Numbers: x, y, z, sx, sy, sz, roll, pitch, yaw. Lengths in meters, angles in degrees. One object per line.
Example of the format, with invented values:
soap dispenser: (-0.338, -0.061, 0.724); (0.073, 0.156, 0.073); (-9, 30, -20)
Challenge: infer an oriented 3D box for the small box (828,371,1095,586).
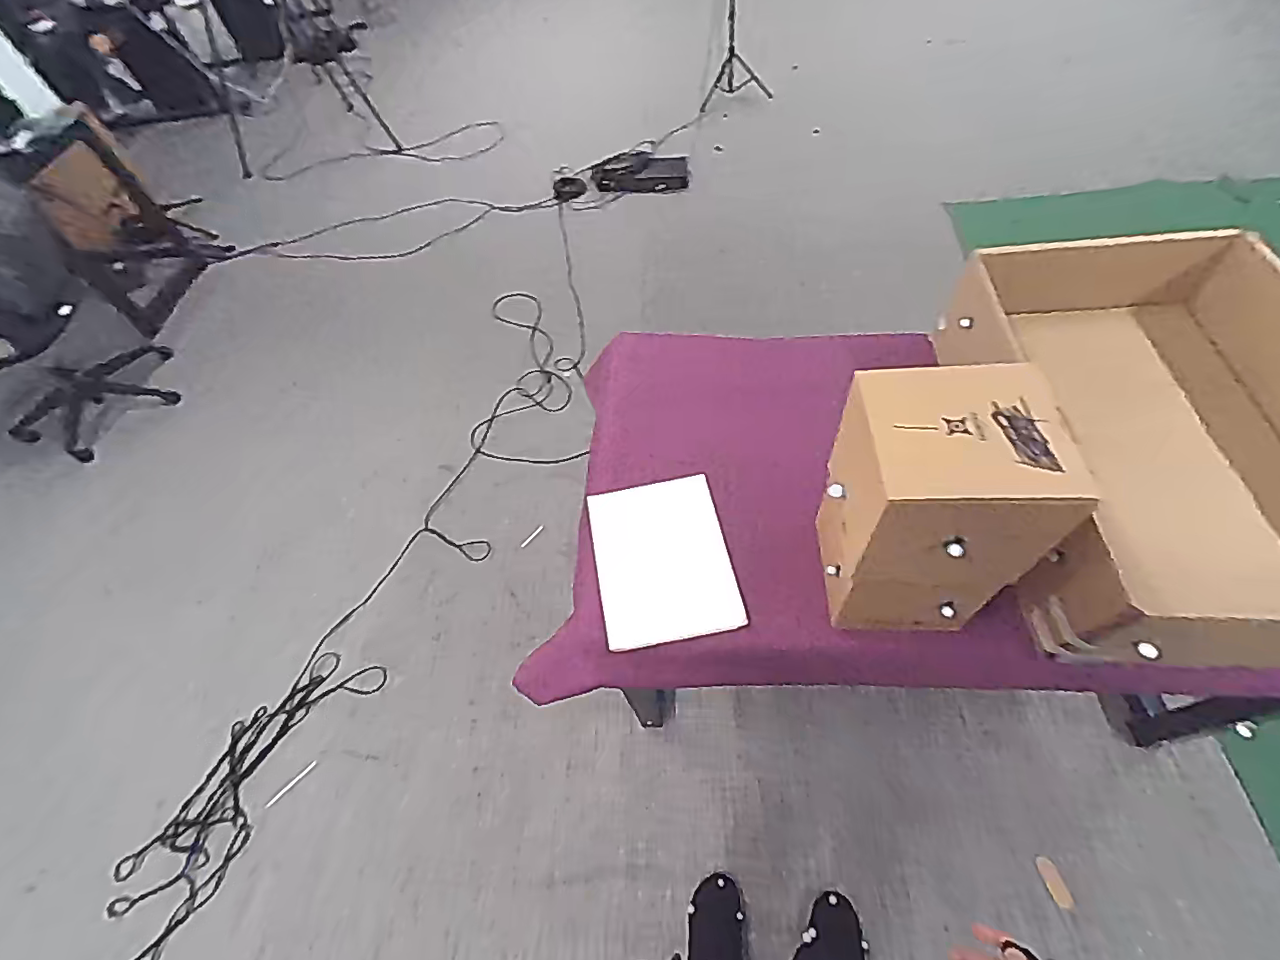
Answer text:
small box: (0.312, 0.003, 0.574); (0.179, 0.176, 0.168); (0, 54, 7)

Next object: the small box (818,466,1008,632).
small box: (0.338, 0.090, 0.712); (0.168, 0.176, 0.179); (0, 54, 7)
